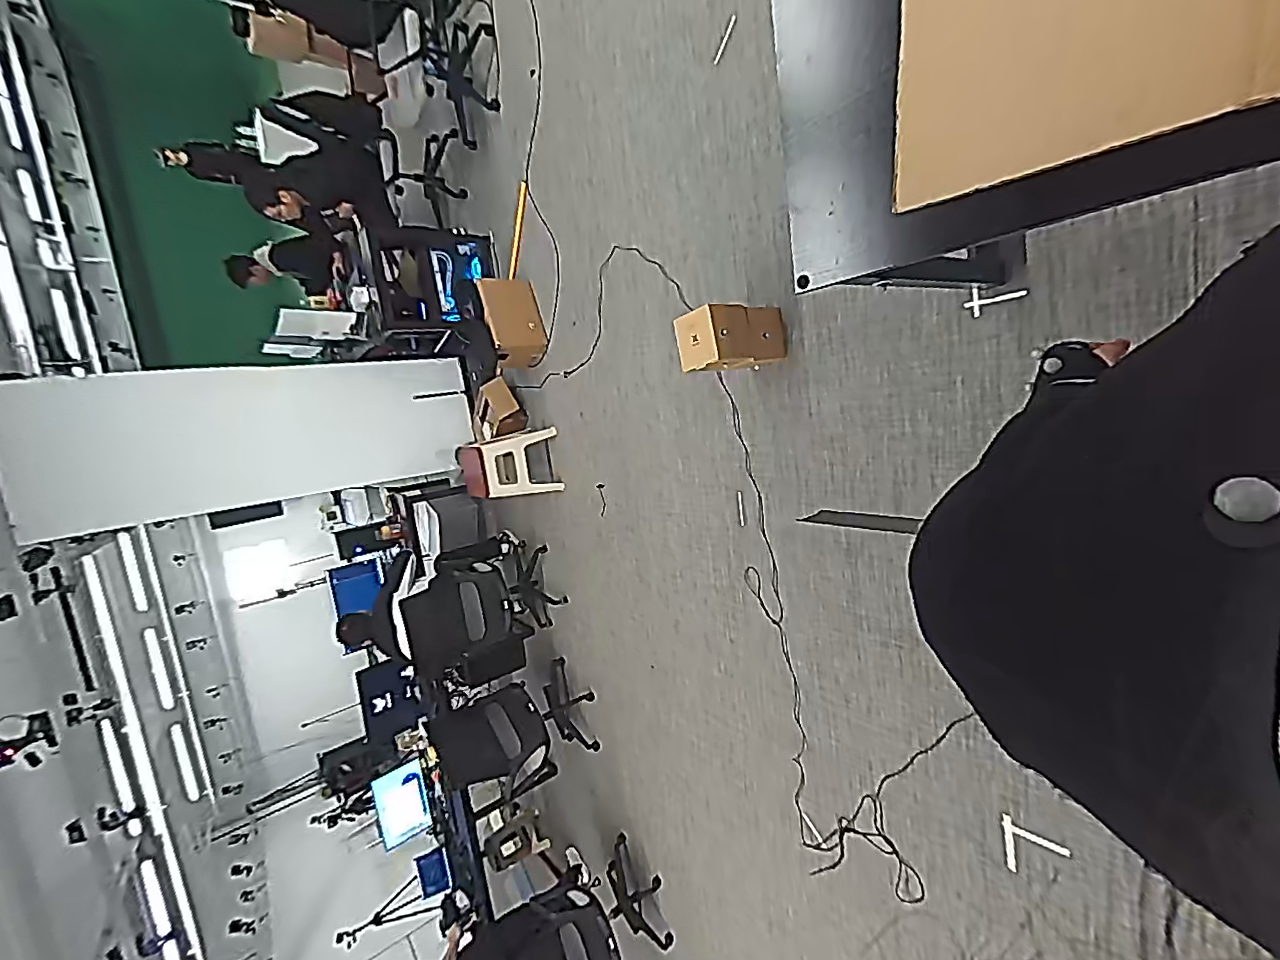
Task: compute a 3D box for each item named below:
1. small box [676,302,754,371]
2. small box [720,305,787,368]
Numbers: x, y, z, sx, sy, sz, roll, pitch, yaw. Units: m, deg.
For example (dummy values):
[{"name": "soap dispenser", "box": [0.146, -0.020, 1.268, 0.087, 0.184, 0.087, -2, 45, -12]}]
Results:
[{"name": "small box", "box": [0.244, -0.459, 1.735, 0.168, 0.176, 0.179, -8, 93, 53]}, {"name": "small box", "box": [0.374, -0.483, 1.829, 0.168, 0.176, 0.179, -2, 99, 54]}]
